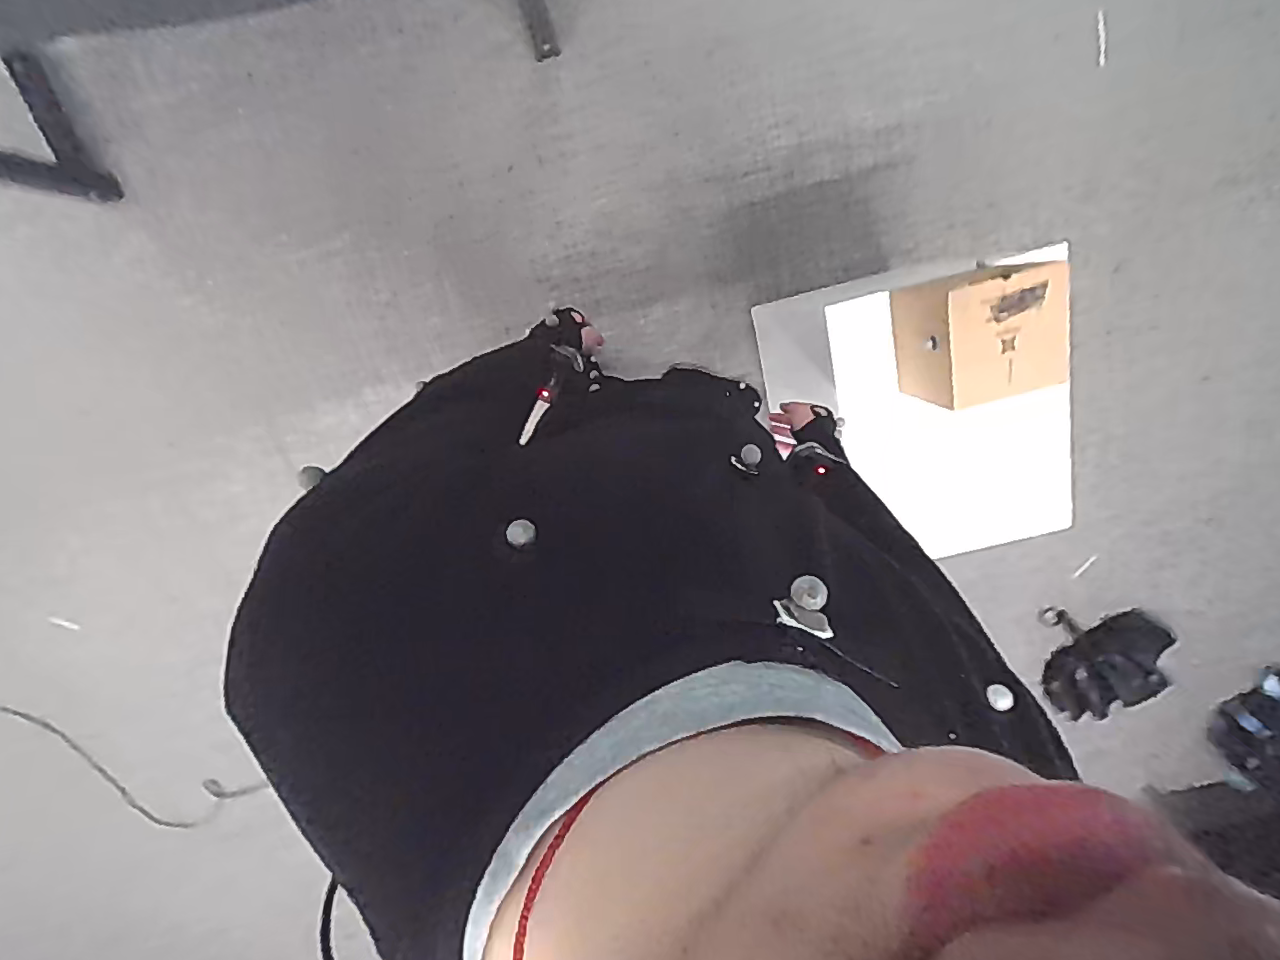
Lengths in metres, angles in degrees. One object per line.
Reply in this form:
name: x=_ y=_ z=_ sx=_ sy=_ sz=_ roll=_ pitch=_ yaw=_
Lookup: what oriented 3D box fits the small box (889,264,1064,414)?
small box: x=0.503 y=-0.219 z=0.830 sx=0.168 sy=0.176 sz=0.179 roll=-14 pitch=110 yaw=2
